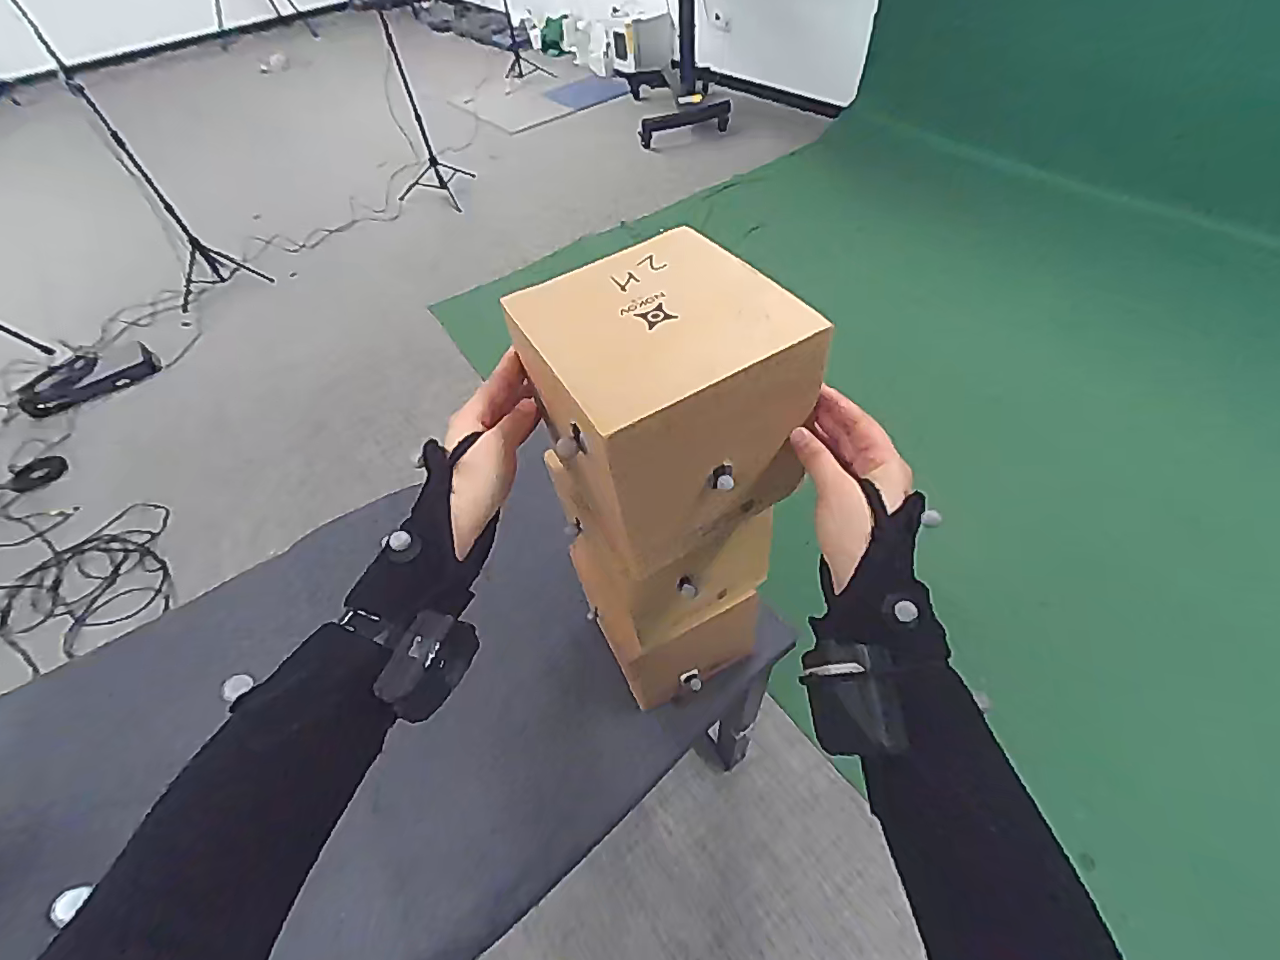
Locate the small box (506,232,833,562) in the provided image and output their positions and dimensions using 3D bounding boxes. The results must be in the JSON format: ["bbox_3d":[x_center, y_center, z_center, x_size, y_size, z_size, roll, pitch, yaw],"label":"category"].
[{"bbox_3d":[0.020,-0.059,0.428,0.168,0.176,0.179,-27,52,-14],"label":"small box"}]

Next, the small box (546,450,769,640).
[{"bbox_3d":[0.025,0.045,0.576,0.168,0.176,0.179,-27,50,-13],"label":"small box"}]

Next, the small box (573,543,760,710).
[{"bbox_3d":[0.033,0.158,0.693,0.168,0.176,0.179,-26,51,-12],"label":"small box"}]
